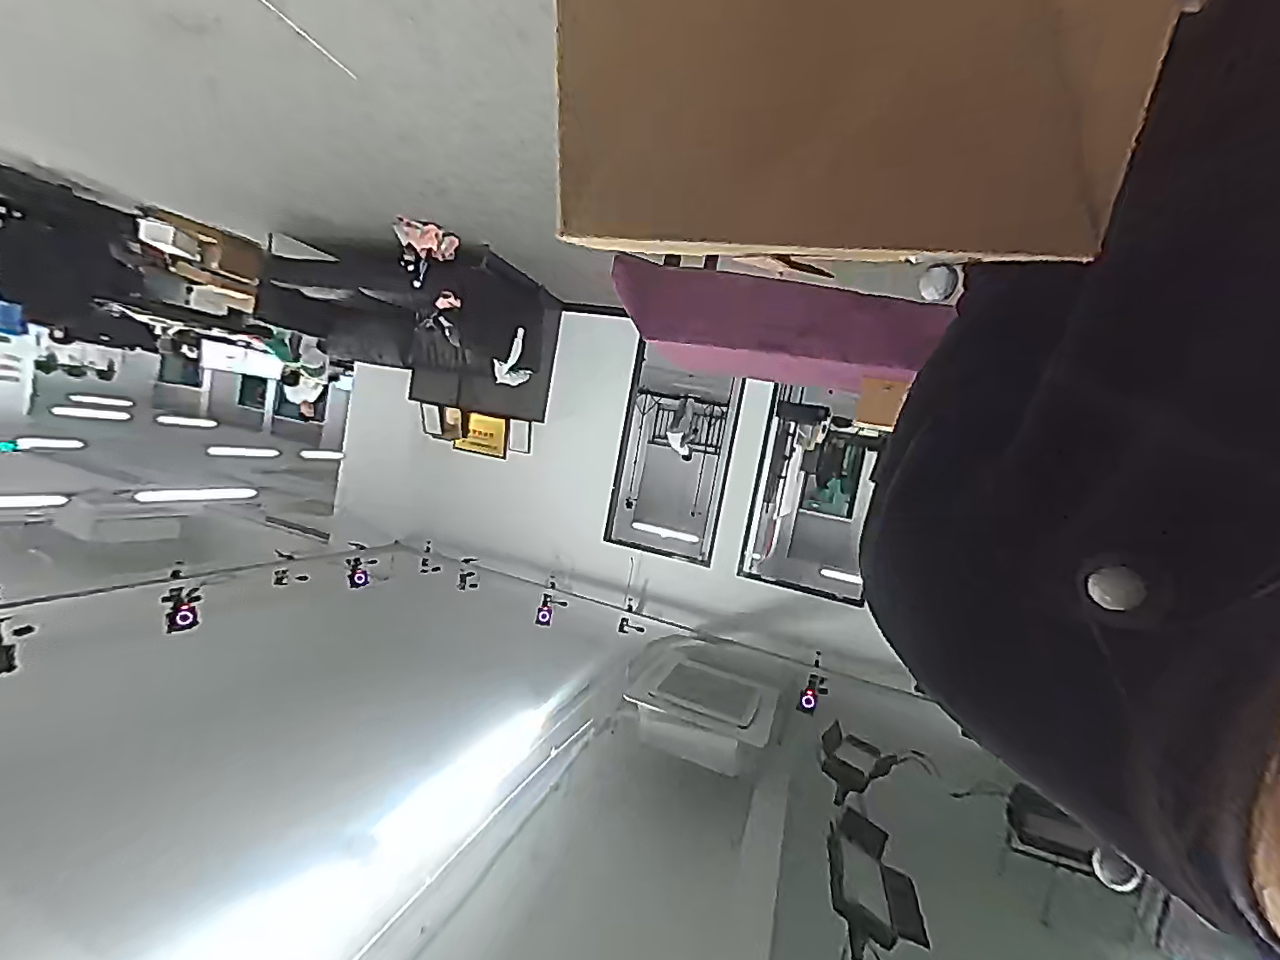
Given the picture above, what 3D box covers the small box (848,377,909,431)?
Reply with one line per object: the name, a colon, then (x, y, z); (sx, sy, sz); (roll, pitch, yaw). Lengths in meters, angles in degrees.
small box: (0.902, -0.290, 2.051); (0.179, 0.176, 0.168); (13, -175, 21)
